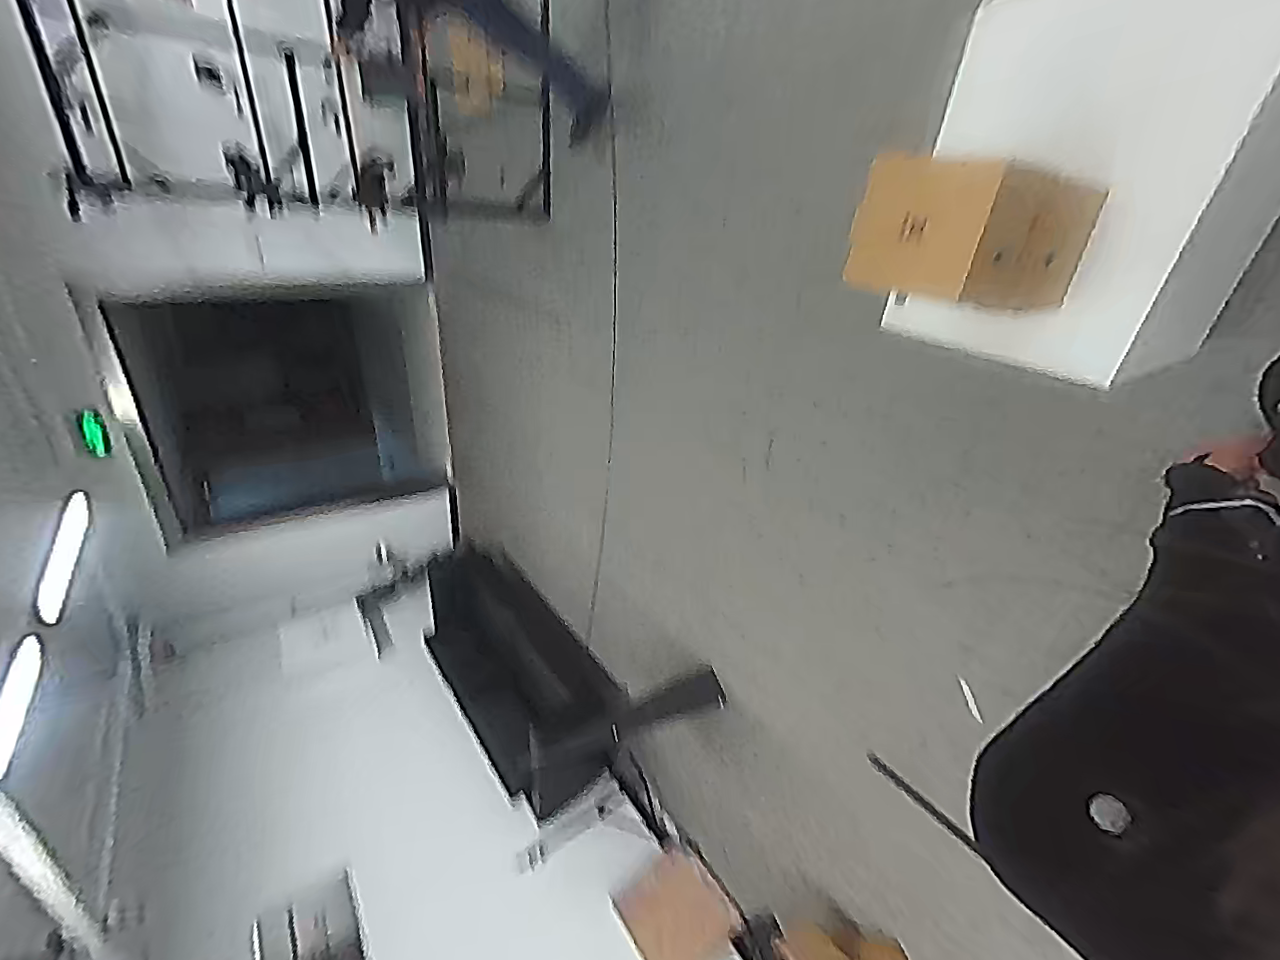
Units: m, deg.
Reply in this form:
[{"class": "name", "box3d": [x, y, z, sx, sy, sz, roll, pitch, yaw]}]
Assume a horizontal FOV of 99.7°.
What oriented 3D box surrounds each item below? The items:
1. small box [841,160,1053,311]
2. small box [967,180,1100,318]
[{"class": "small box", "box3d": [0.418, -0.336, 0.743, 0.179, 0.176, 0.168, 36, 130, 45]}, {"class": "small box", "box3d": [0.556, -0.355, 0.829, 0.168, 0.176, 0.179, 34, 128, 45]}]
